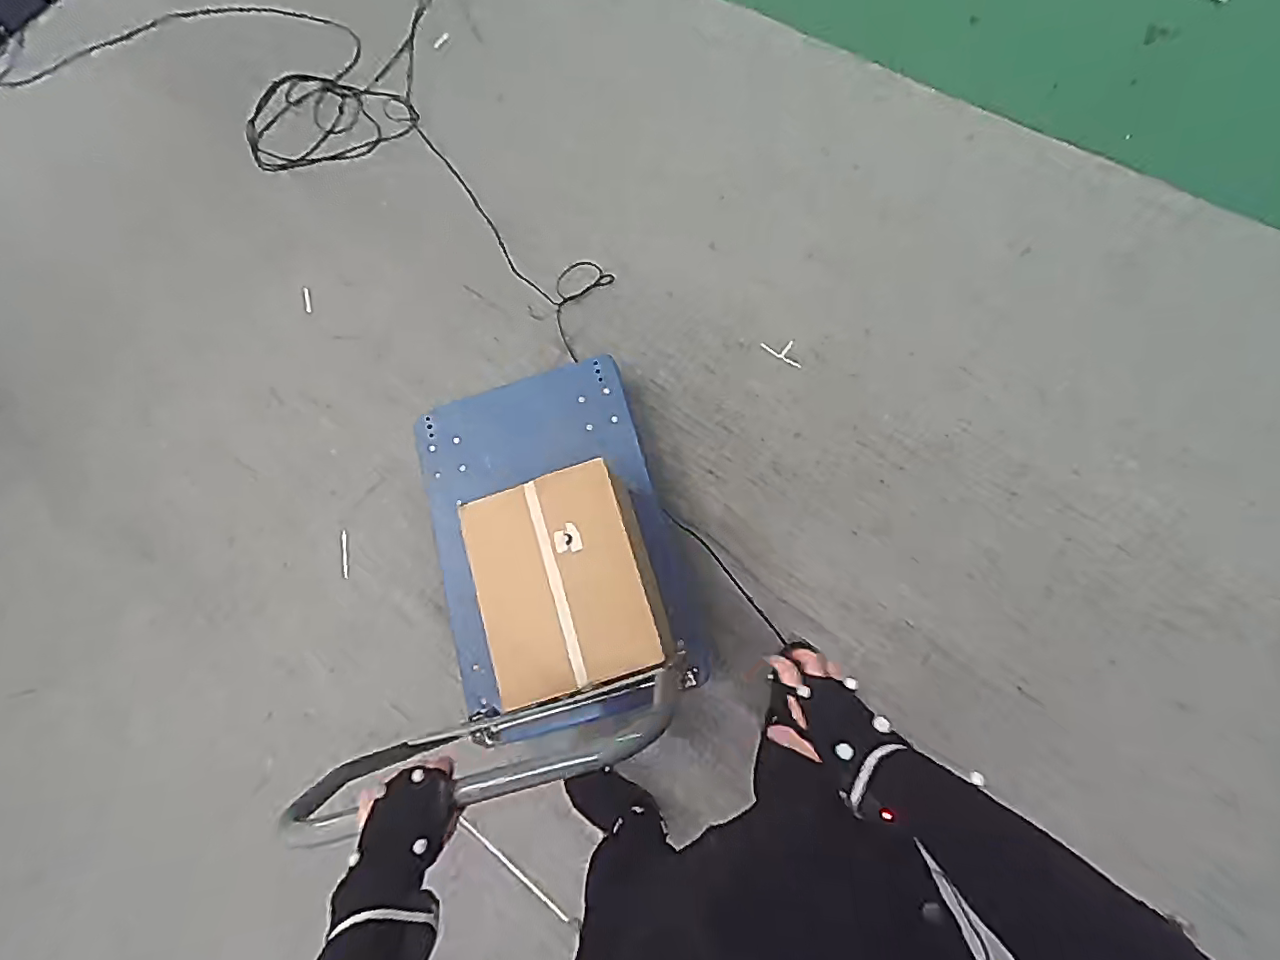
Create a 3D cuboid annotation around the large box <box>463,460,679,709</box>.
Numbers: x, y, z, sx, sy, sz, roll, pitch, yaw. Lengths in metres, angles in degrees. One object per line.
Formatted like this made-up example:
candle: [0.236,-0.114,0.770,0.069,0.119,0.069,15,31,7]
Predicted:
large box: [-0.131,0.223,1.166,0.320,0.320,0.408,-19,75,3]
